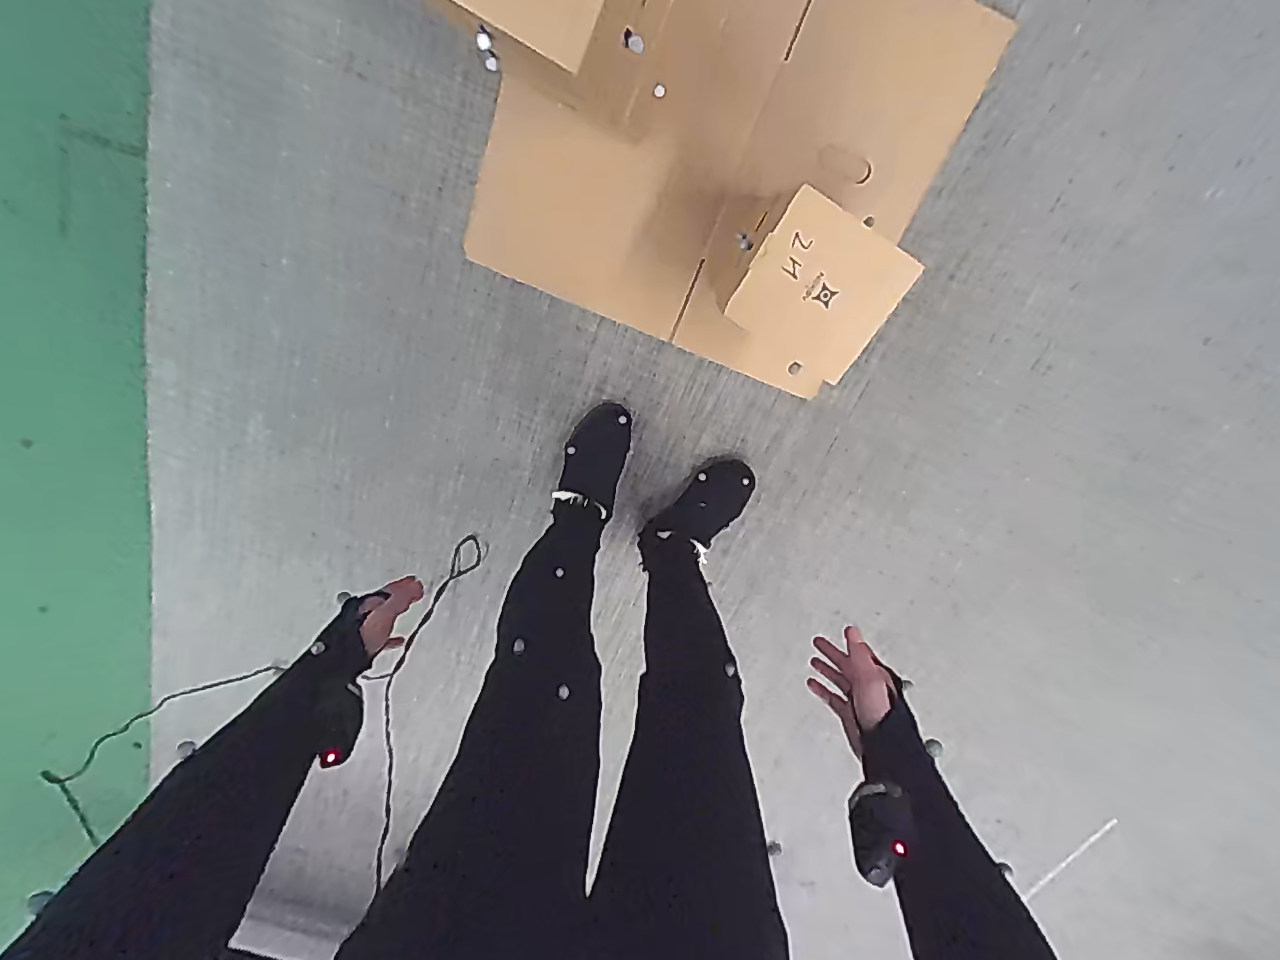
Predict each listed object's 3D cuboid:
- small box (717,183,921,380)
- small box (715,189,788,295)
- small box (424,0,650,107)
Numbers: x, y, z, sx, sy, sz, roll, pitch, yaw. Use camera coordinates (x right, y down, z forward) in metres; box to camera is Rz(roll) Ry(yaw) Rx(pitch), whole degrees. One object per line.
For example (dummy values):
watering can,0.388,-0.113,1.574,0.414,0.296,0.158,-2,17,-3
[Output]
small box,0.218,-0.262,0.713,0.179,0.176,0.168,30,113,-8
small box,0.234,-0.336,0.860,0.179,0.176,0.168,27,113,-6
small box,-0.089,-0.461,0.468,0.179,0.176,0.168,27,115,-7
